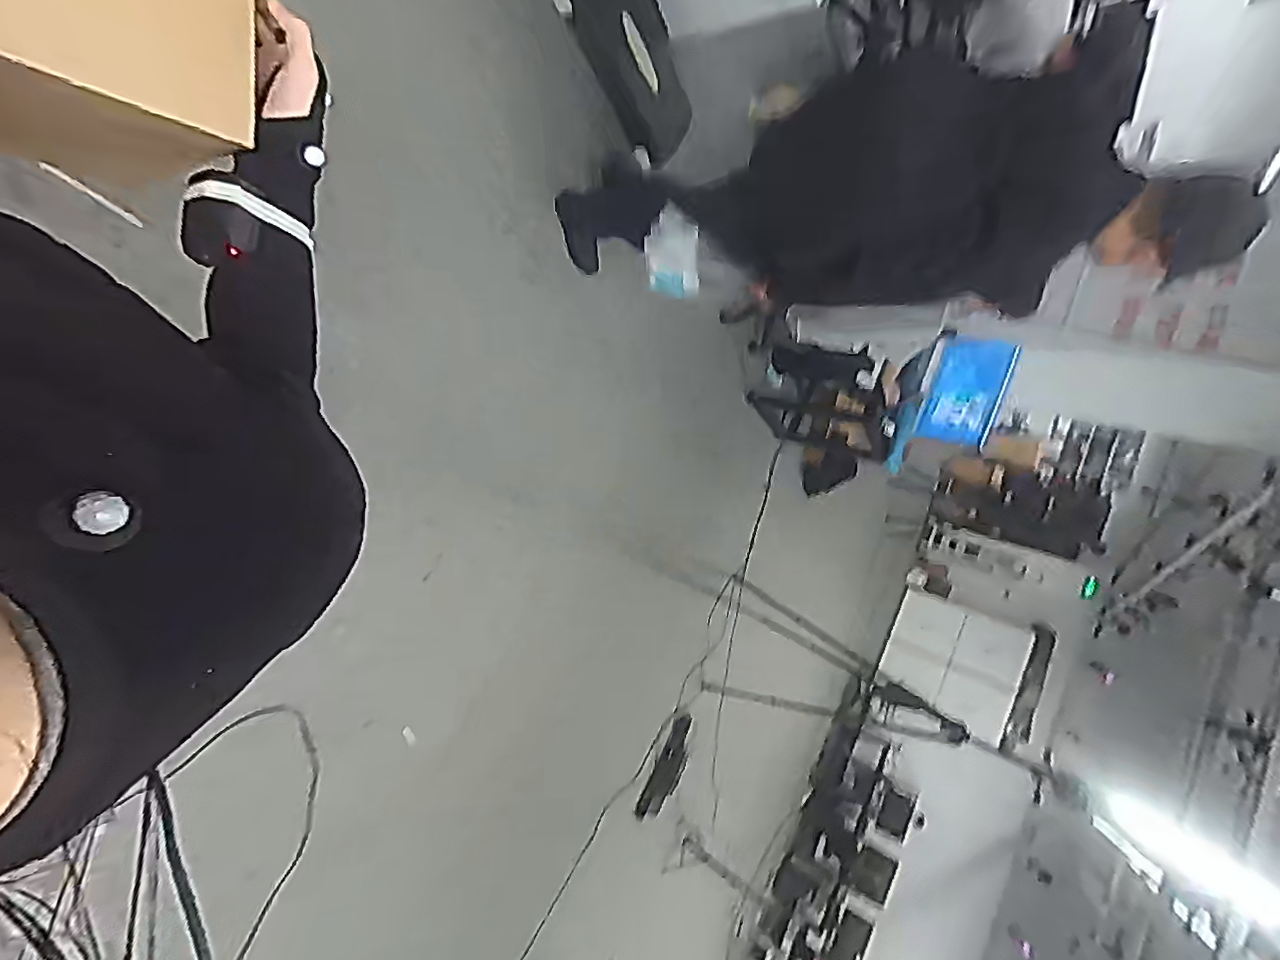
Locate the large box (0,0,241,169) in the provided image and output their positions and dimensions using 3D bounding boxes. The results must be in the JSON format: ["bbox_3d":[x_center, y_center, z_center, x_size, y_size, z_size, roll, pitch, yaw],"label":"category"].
[{"bbox_3d":[-0.544,-0.433,0.331,0.408,0.320,0.320,-11,110,-55],"label":"large box"}]
